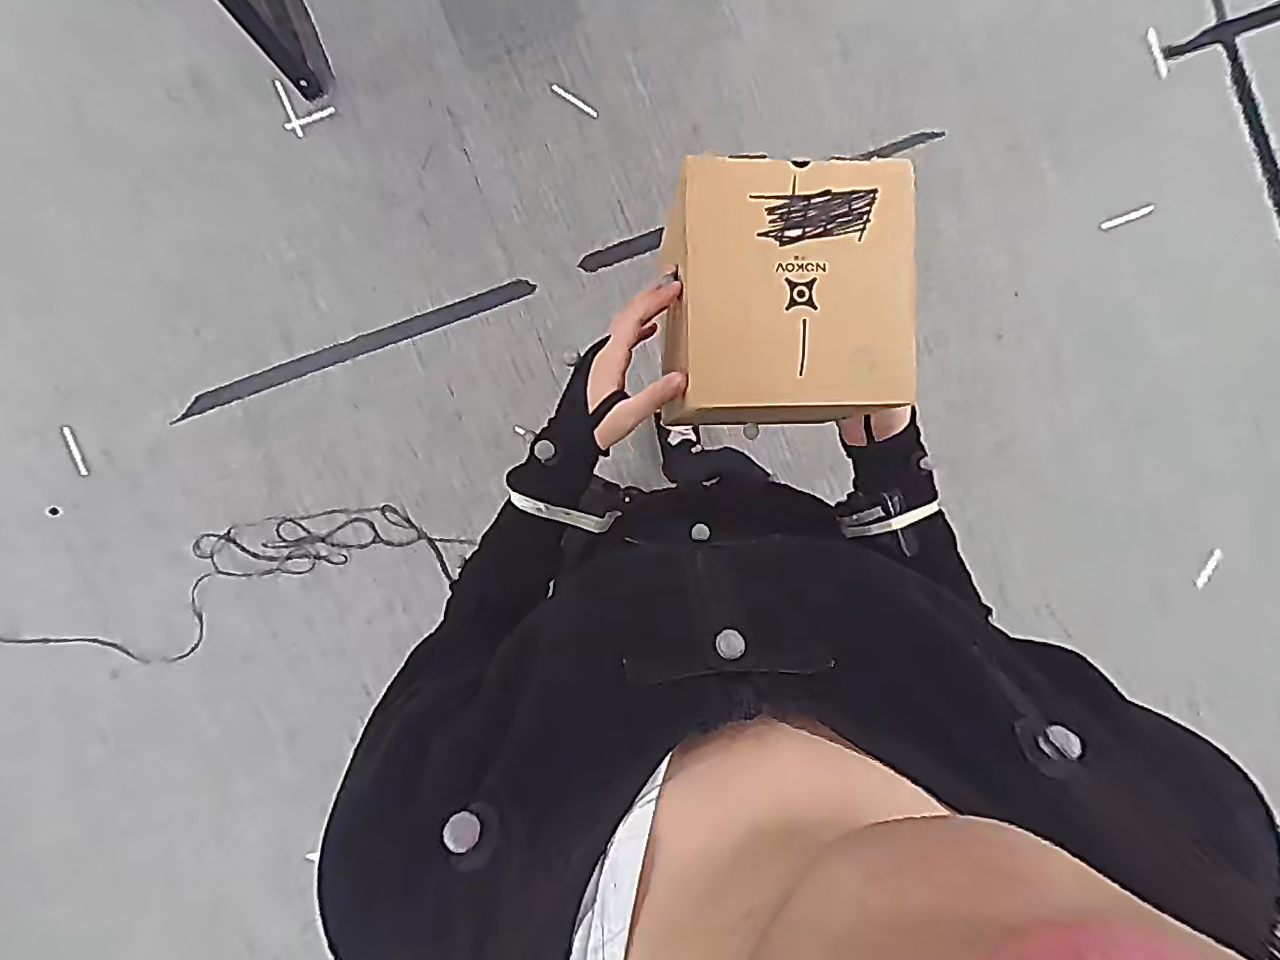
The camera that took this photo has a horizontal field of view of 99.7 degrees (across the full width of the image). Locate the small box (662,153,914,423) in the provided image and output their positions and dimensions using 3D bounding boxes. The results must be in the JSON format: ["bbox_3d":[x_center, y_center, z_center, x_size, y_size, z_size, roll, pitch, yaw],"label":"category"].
[{"bbox_3d":[0.109,-0.144,0.464,0.168,0.176,0.179,-1,92,-4],"label":"small box"}]
